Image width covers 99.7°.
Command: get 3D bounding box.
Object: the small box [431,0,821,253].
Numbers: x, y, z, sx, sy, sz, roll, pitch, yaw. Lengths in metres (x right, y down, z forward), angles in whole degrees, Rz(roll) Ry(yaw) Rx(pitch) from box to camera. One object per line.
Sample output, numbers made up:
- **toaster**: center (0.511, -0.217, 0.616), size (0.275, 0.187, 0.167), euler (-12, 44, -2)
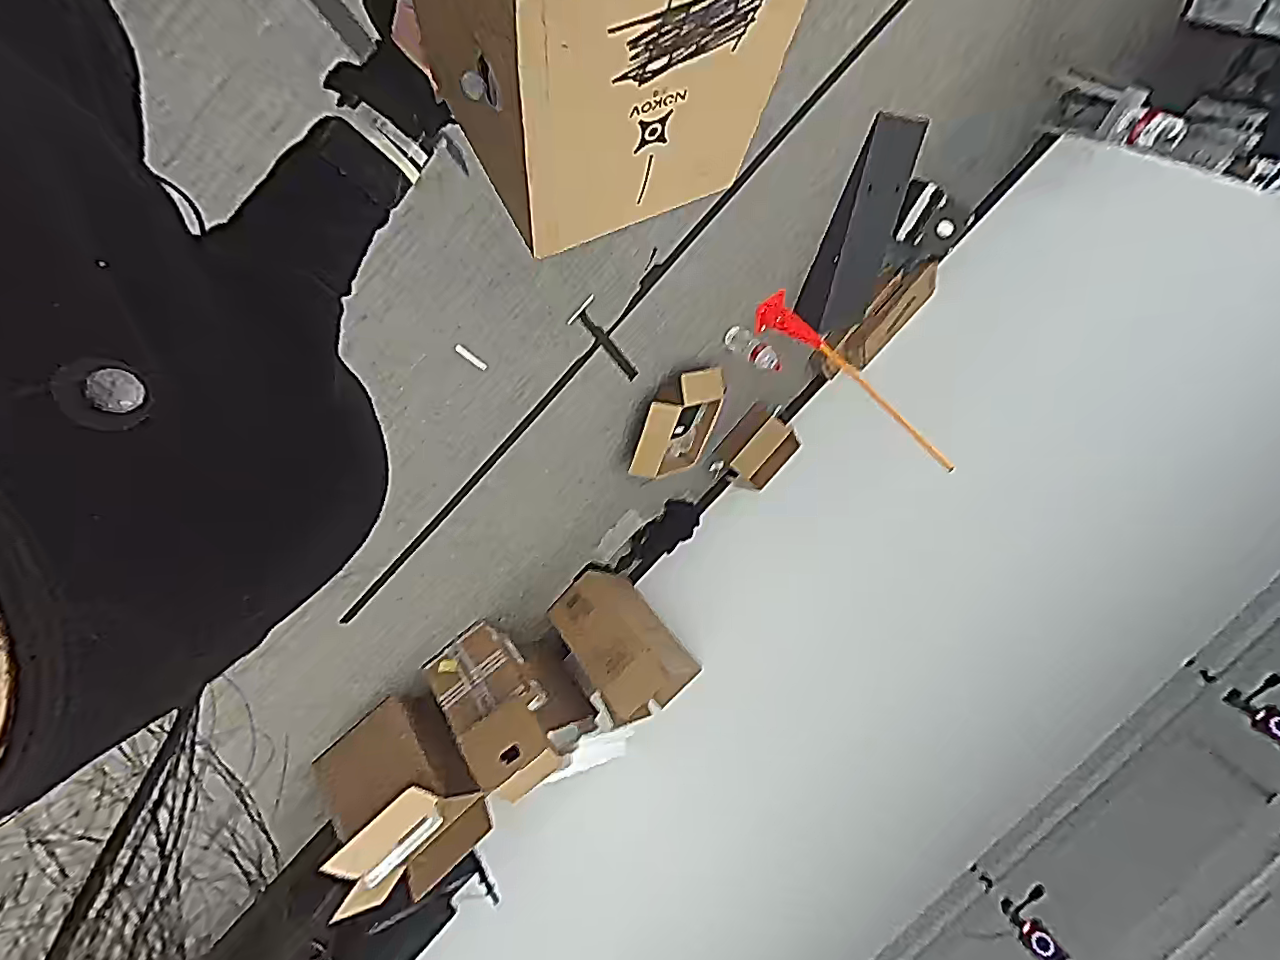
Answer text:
- **small box**: center (-0.021, -0.280, 0.316), size (0.168, 0.176, 0.179), euler (-27, 173, -12)
